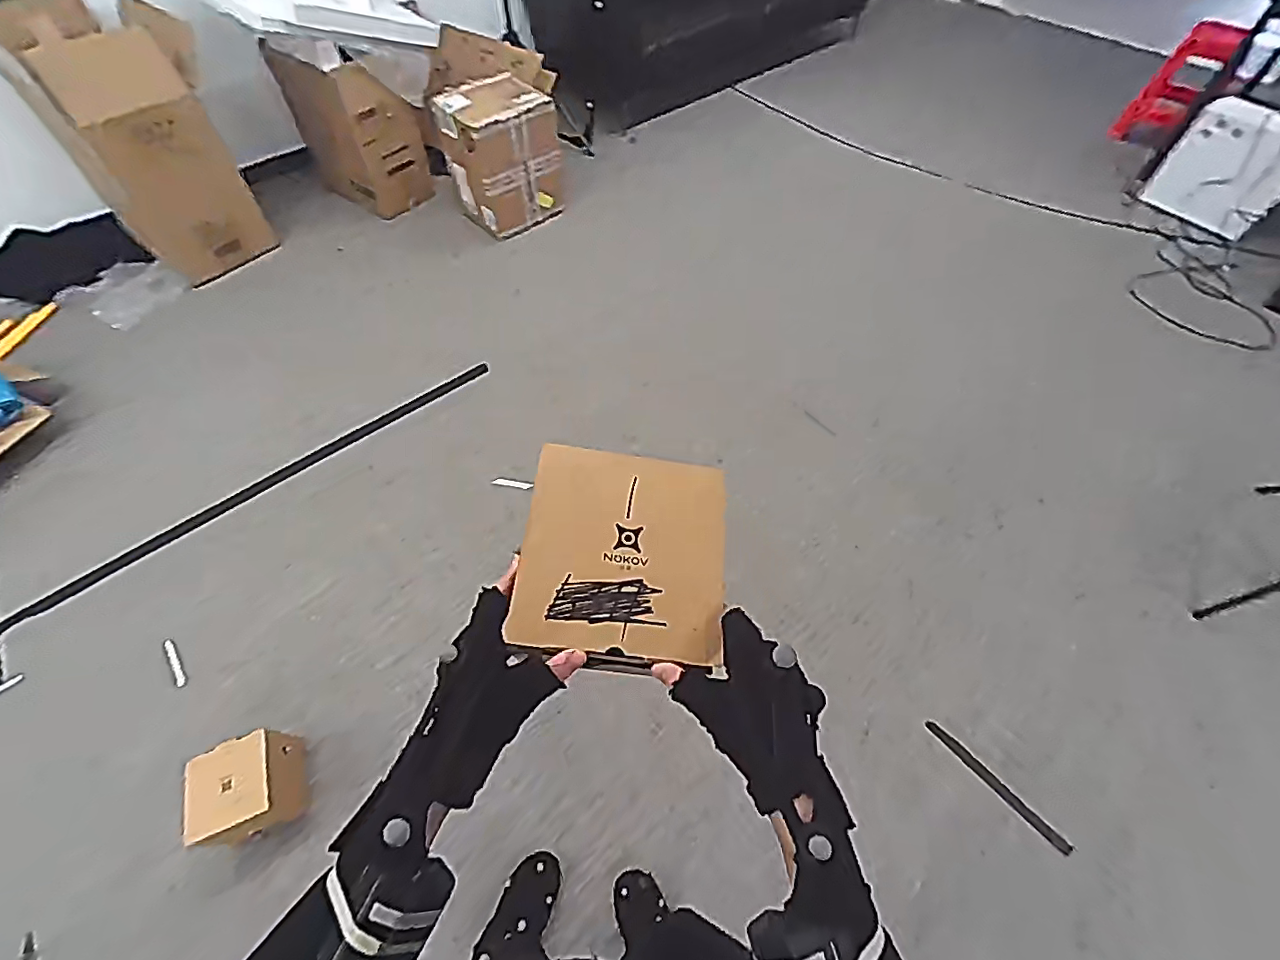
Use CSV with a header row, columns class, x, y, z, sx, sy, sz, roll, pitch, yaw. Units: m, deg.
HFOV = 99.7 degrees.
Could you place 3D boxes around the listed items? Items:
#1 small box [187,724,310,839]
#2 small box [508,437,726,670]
class,x,y,z,sx,sy,sz,roll,pitch,yaw
small box,-0.880,0.686,1.226,0.168,0.176,0.179,-21,60,-12
small box,-0.023,0.083,0.521,0.168,0.176,0.179,9,67,-6
